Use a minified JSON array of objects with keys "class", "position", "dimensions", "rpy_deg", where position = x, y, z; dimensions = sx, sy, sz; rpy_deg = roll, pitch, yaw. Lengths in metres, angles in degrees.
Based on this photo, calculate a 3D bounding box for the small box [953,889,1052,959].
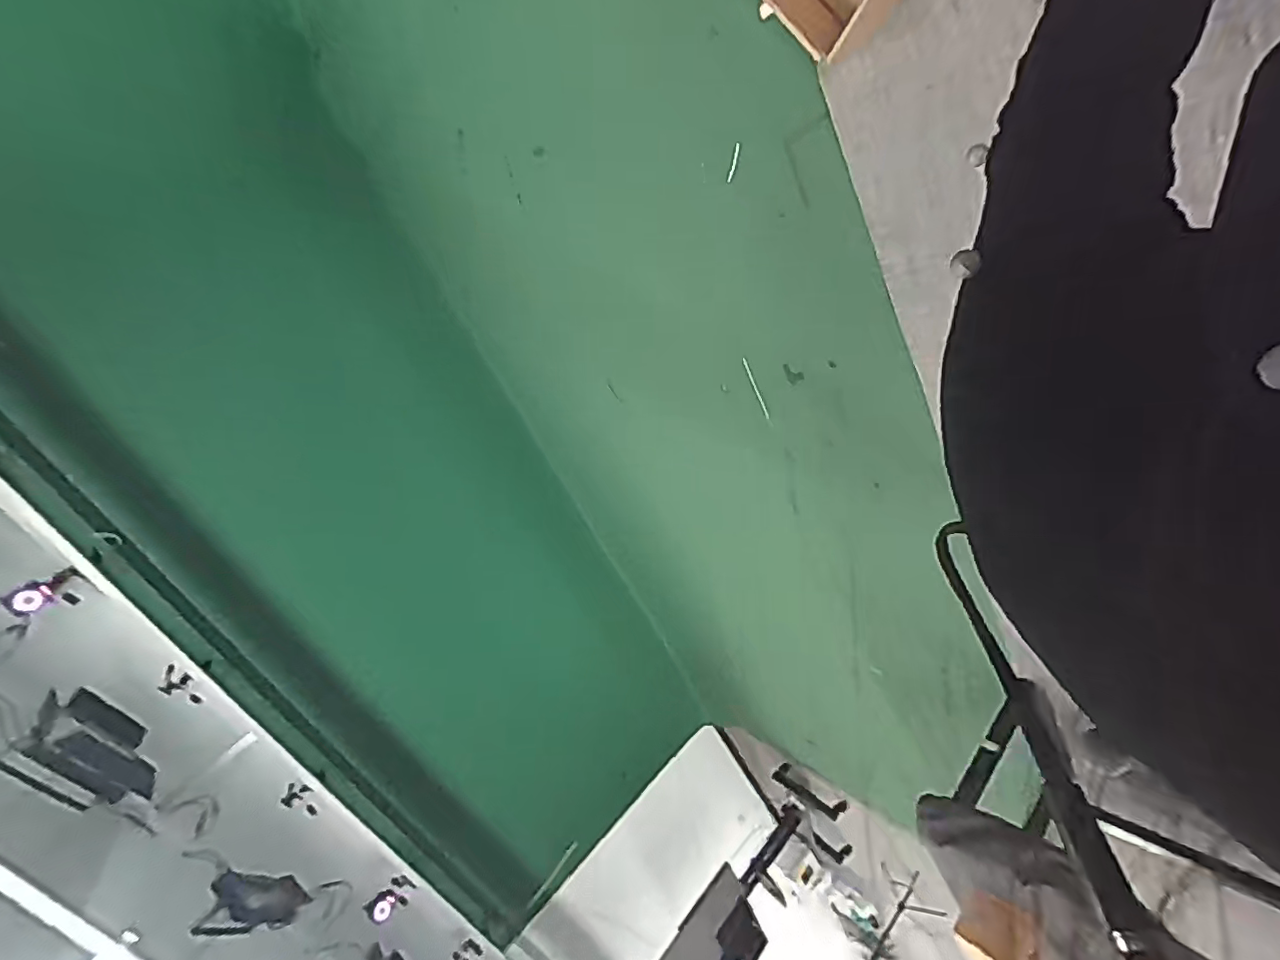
[{"class":"small box","position":[1.057,1.355,1.573],"dimensions":[0.179,0.176,0.168],"rpy_deg":[57,155,-17]}]
